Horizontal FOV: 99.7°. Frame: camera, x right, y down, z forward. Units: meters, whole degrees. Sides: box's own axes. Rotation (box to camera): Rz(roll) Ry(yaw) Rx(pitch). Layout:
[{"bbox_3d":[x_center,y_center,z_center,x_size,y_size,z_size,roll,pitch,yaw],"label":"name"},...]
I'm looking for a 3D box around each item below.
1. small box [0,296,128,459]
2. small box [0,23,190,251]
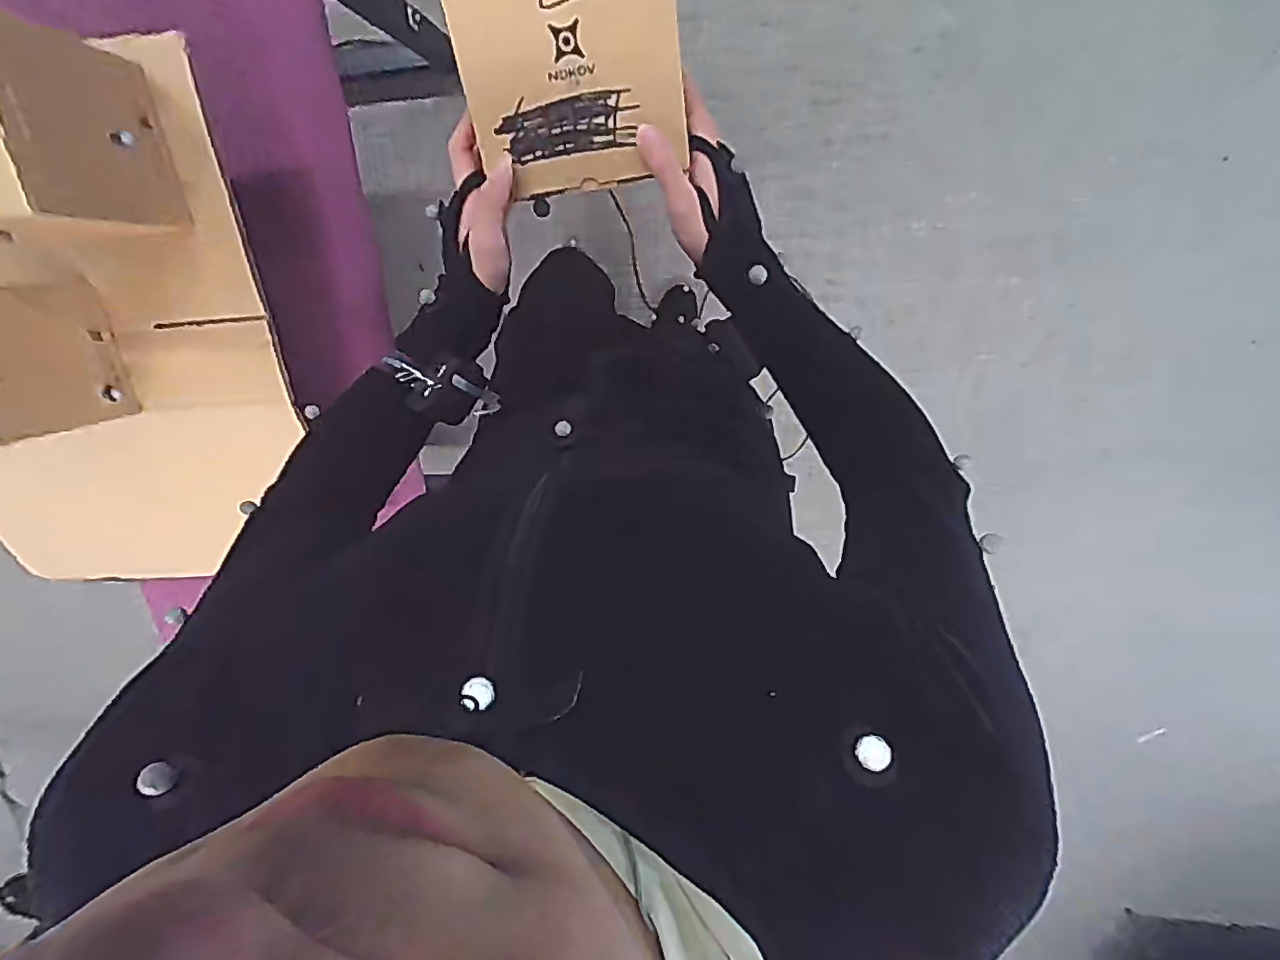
[{"bbox_3d":[-0.761,-0.121,0.630,0.179,0.176,0.168,-3,109,7],"label":"small box"},{"bbox_3d":[-0.621,-0.327,0.542,0.179,0.176,0.168,-2,110,6],"label":"small box"}]
